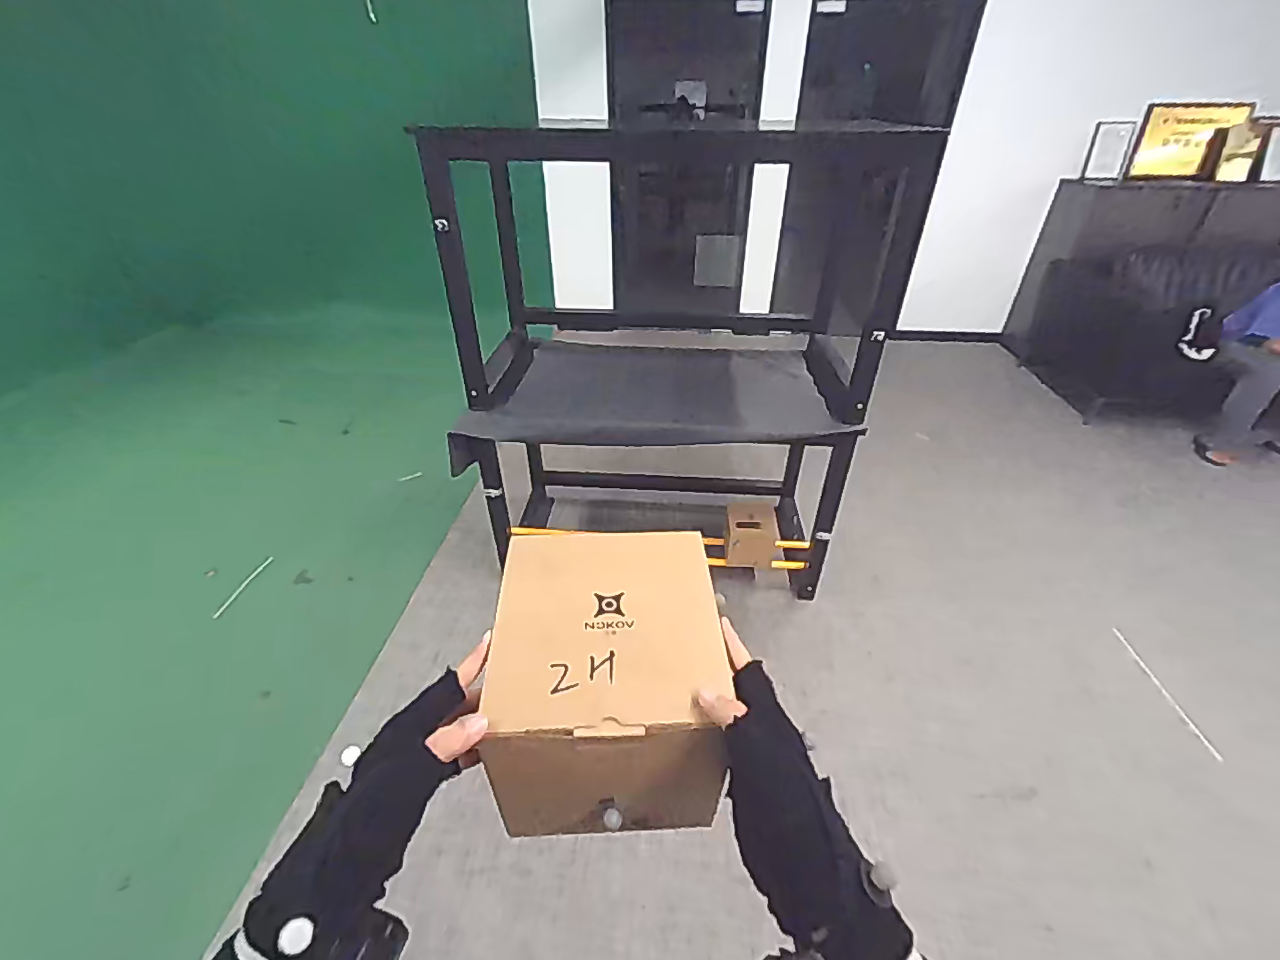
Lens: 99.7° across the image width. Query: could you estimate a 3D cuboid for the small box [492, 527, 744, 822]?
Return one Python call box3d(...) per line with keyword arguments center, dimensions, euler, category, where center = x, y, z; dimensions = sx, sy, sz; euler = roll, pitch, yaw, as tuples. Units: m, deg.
box3d(center=(-0.019, 0.158, 0.458), dimensions=(0.168, 0.176, 0.179), euler=(-1, 37, -3), category="small box")
